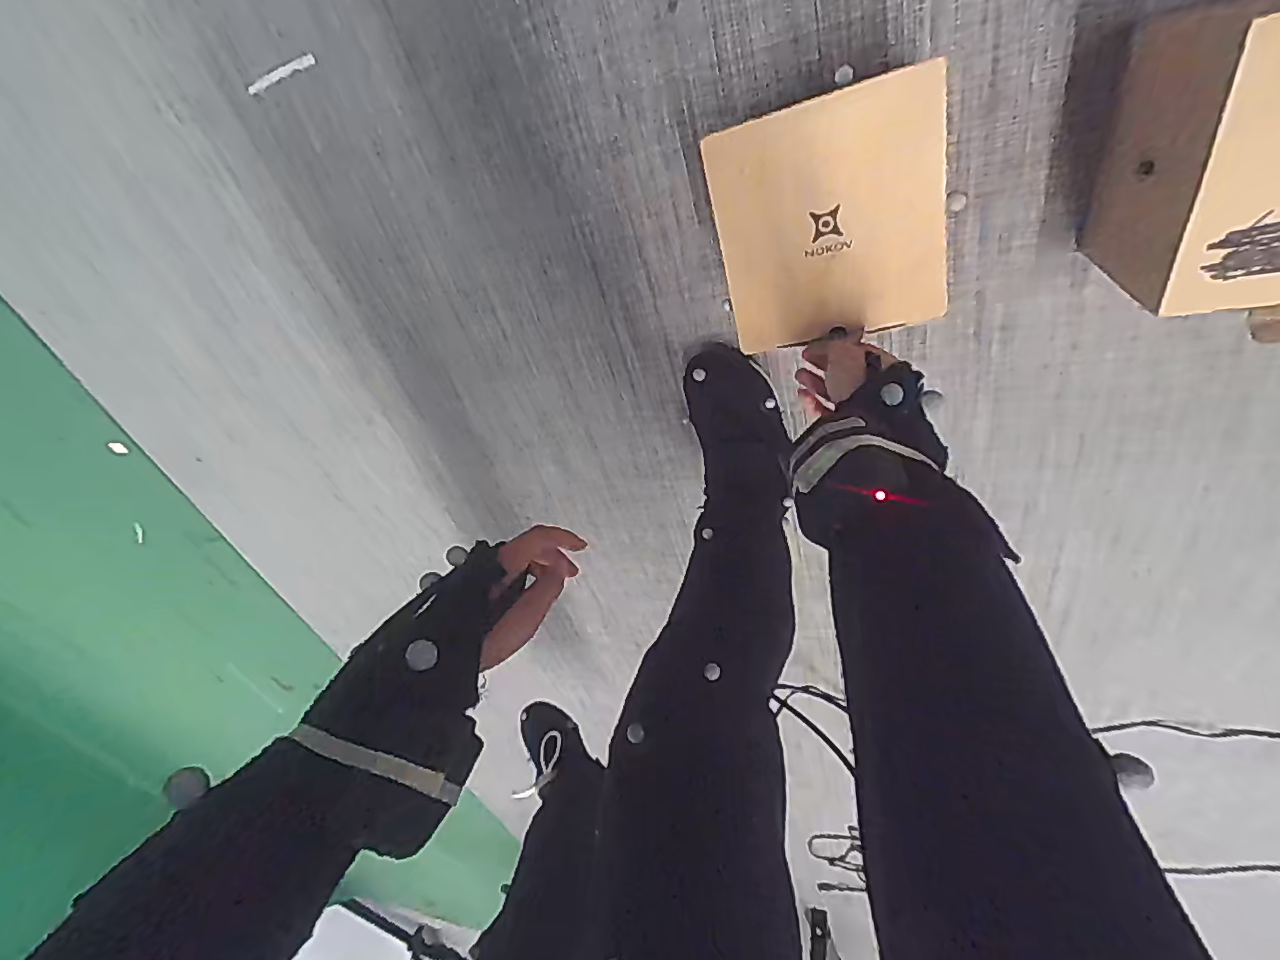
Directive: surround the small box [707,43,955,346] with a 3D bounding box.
[{"bbox_3d":[0.166,-0.241,0.474,0.168,0.176,0.179,-5,123,22],"label":"small box"}]
